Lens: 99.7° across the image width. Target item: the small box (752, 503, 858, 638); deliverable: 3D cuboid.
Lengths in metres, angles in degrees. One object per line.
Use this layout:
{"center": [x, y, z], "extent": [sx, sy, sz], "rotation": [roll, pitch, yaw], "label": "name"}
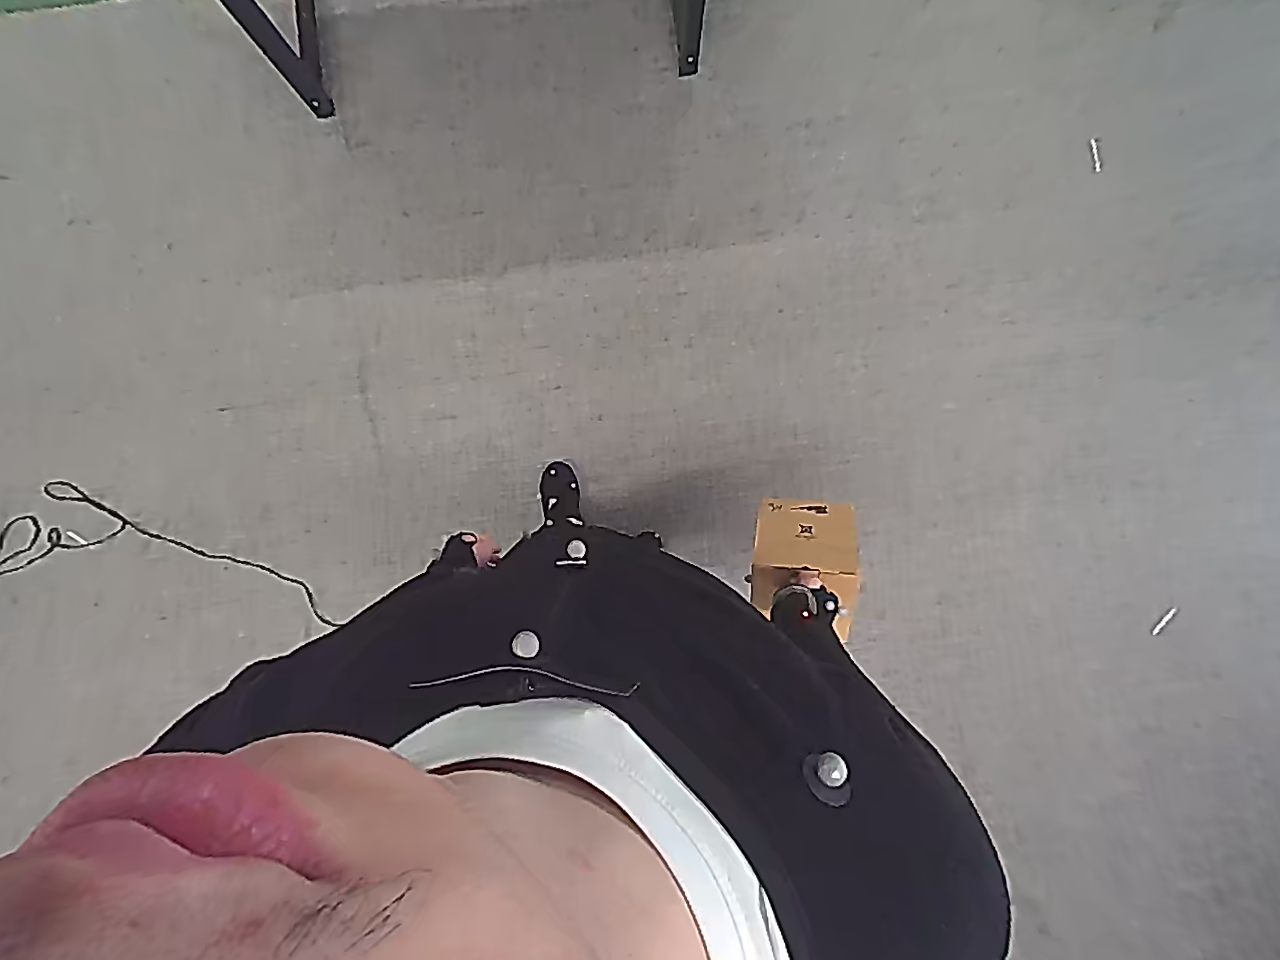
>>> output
{"center": [0.290, 0.160, 0.965], "extent": [0.168, 0.179, 0.176], "rotation": [1, 127, 14], "label": "small box"}
